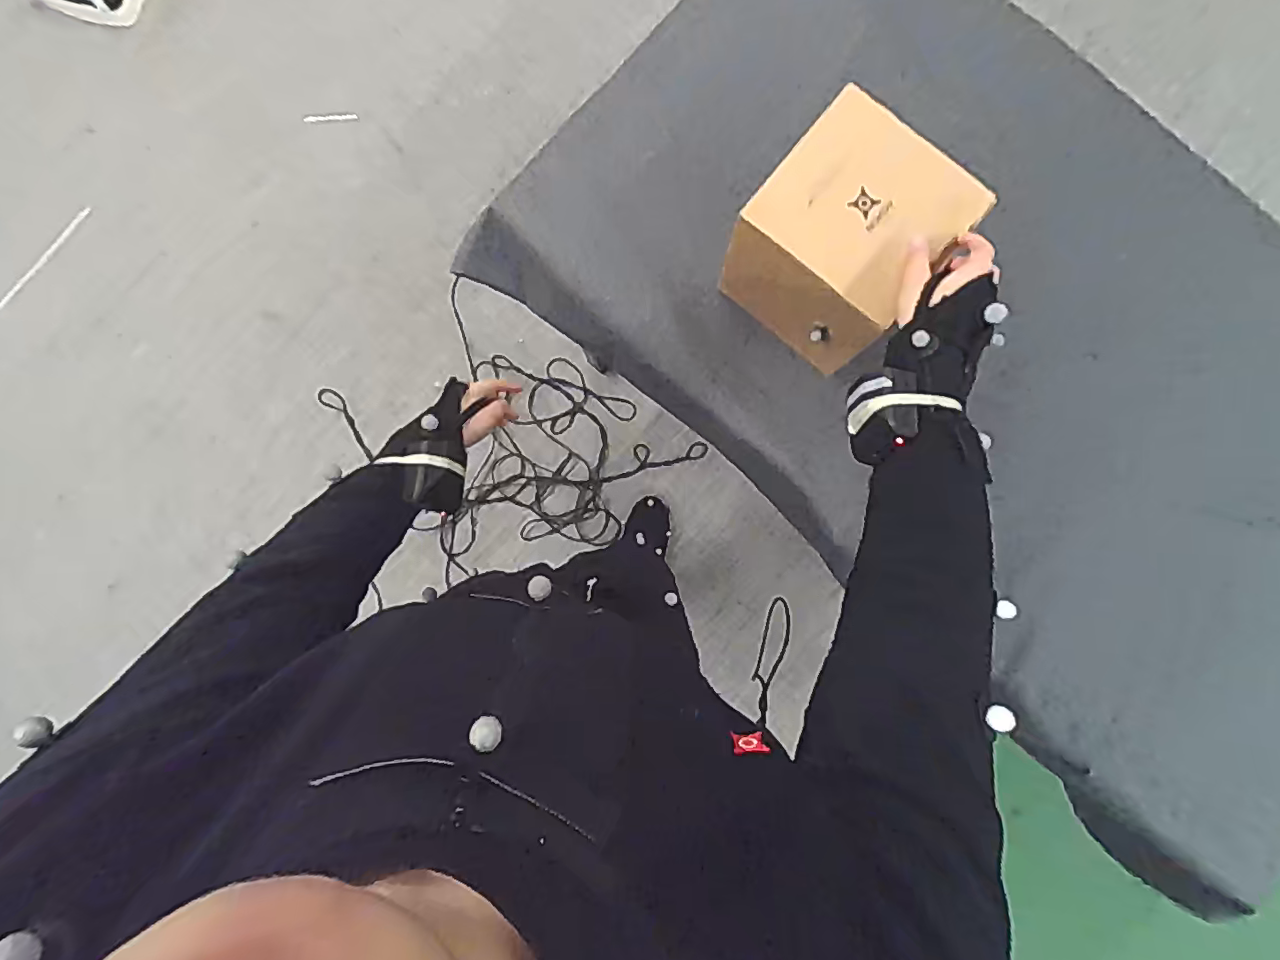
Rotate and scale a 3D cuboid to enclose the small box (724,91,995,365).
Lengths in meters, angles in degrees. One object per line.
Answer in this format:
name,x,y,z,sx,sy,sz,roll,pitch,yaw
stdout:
small box,0.211,-0.243,0.576,0.179,0.176,0.168,40,88,4
